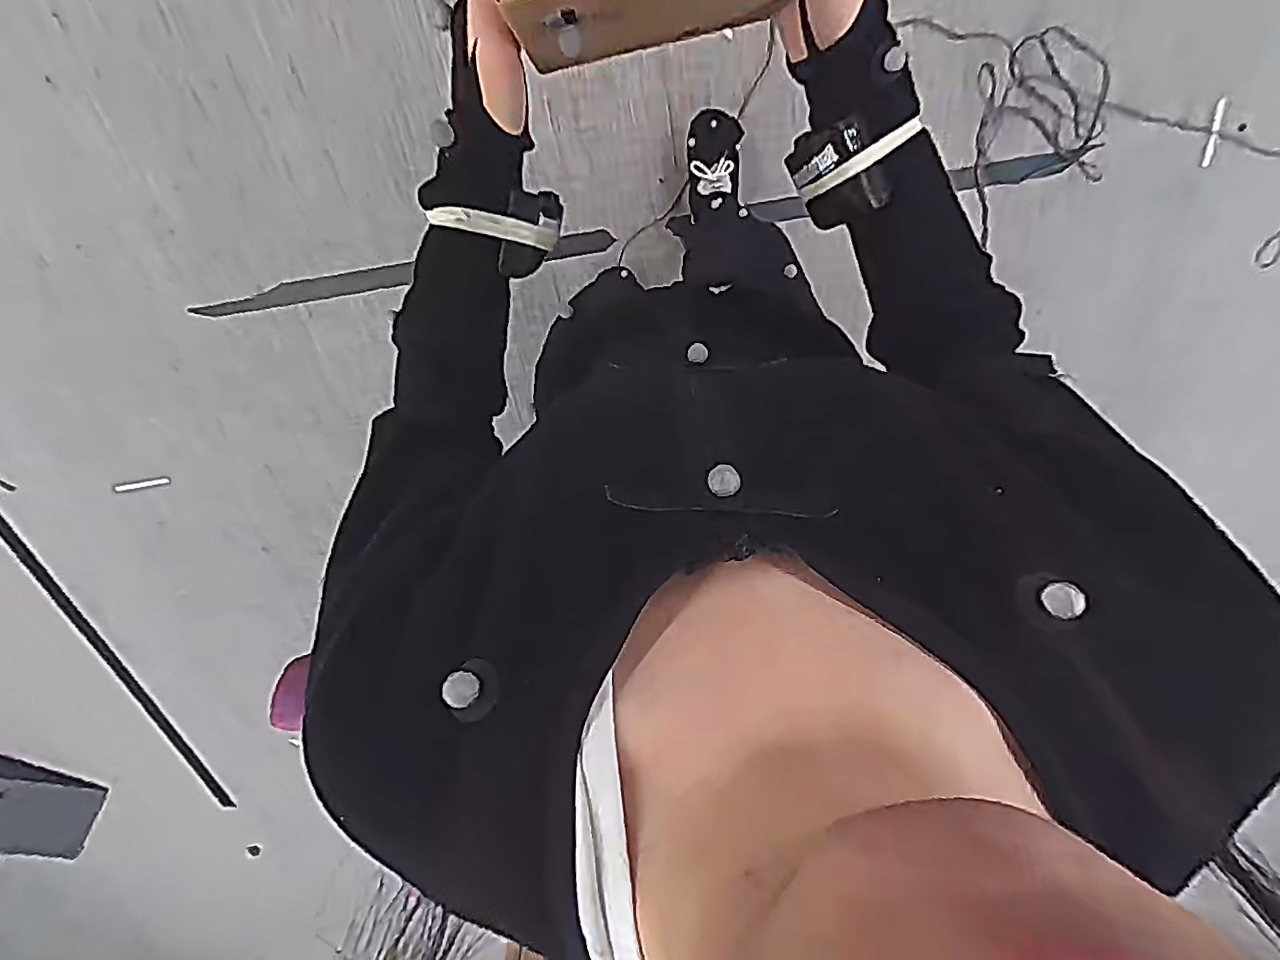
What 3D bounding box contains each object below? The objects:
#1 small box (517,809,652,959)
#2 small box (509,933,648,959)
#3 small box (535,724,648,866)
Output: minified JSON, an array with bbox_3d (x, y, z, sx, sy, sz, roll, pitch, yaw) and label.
[{"bbox_3d":[-0.072,0.623,0.795,0.168,0.176,0.179,-8,115,-1],"label":"small box"},{"bbox_3d":[-0.067,0.674,0.640,0.168,0.176,0.179,-10,116,2],"label":"small box"},{"bbox_3d":[-0.080,0.548,0.942,0.168,0.176,0.179,-7,116,0],"label":"small box"}]
